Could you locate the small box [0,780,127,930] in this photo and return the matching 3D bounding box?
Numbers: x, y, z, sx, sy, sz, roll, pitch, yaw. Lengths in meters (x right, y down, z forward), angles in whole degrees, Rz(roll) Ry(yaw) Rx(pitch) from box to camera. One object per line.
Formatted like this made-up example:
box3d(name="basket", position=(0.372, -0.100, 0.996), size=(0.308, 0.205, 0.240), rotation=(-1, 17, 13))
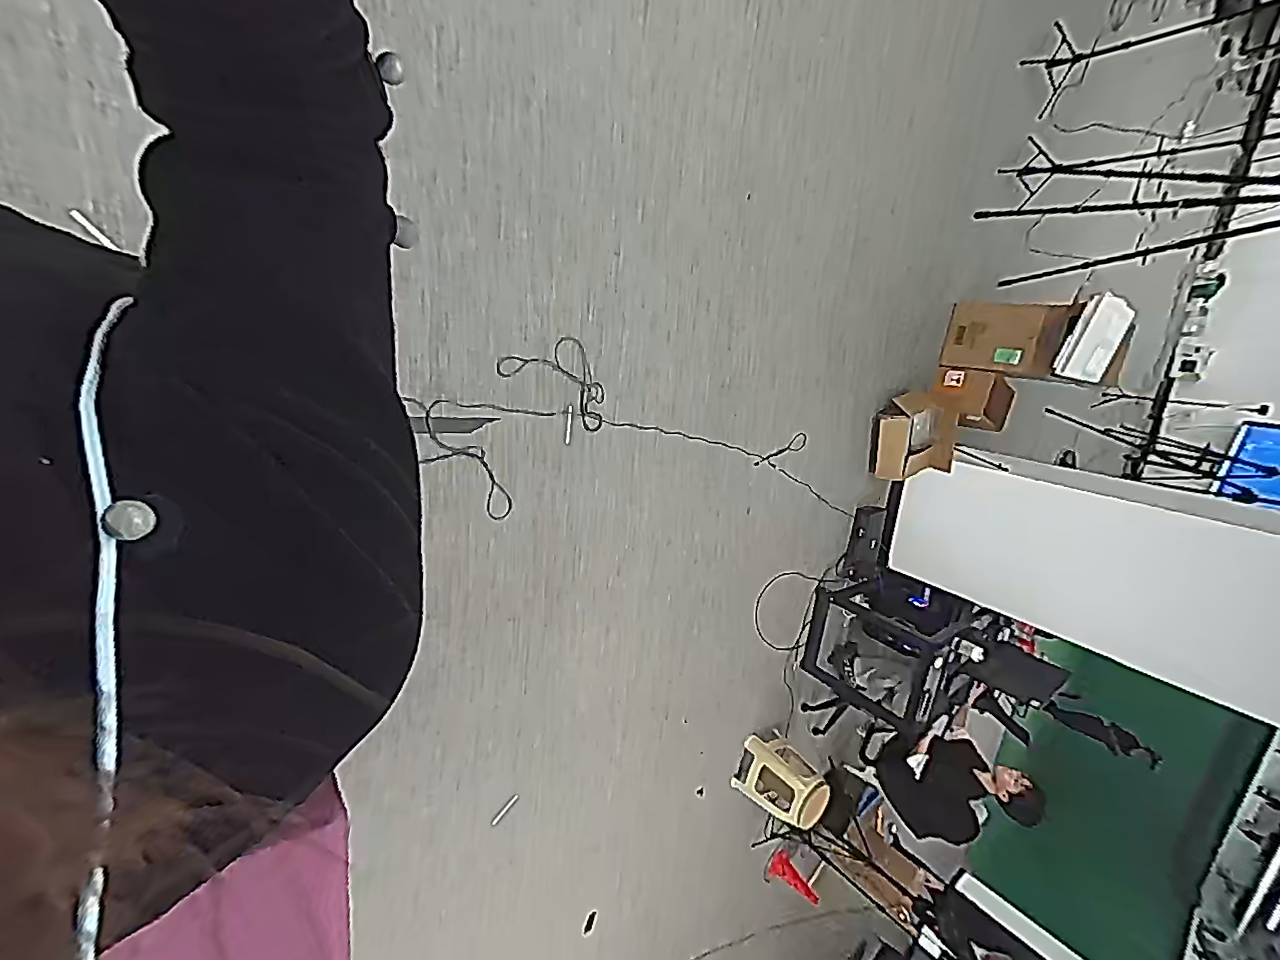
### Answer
box3d(name="small box", position=(-1.247, 0.797, 1.173), size=(0.179, 0.176, 0.168), rotation=(-7, 110, -36))
